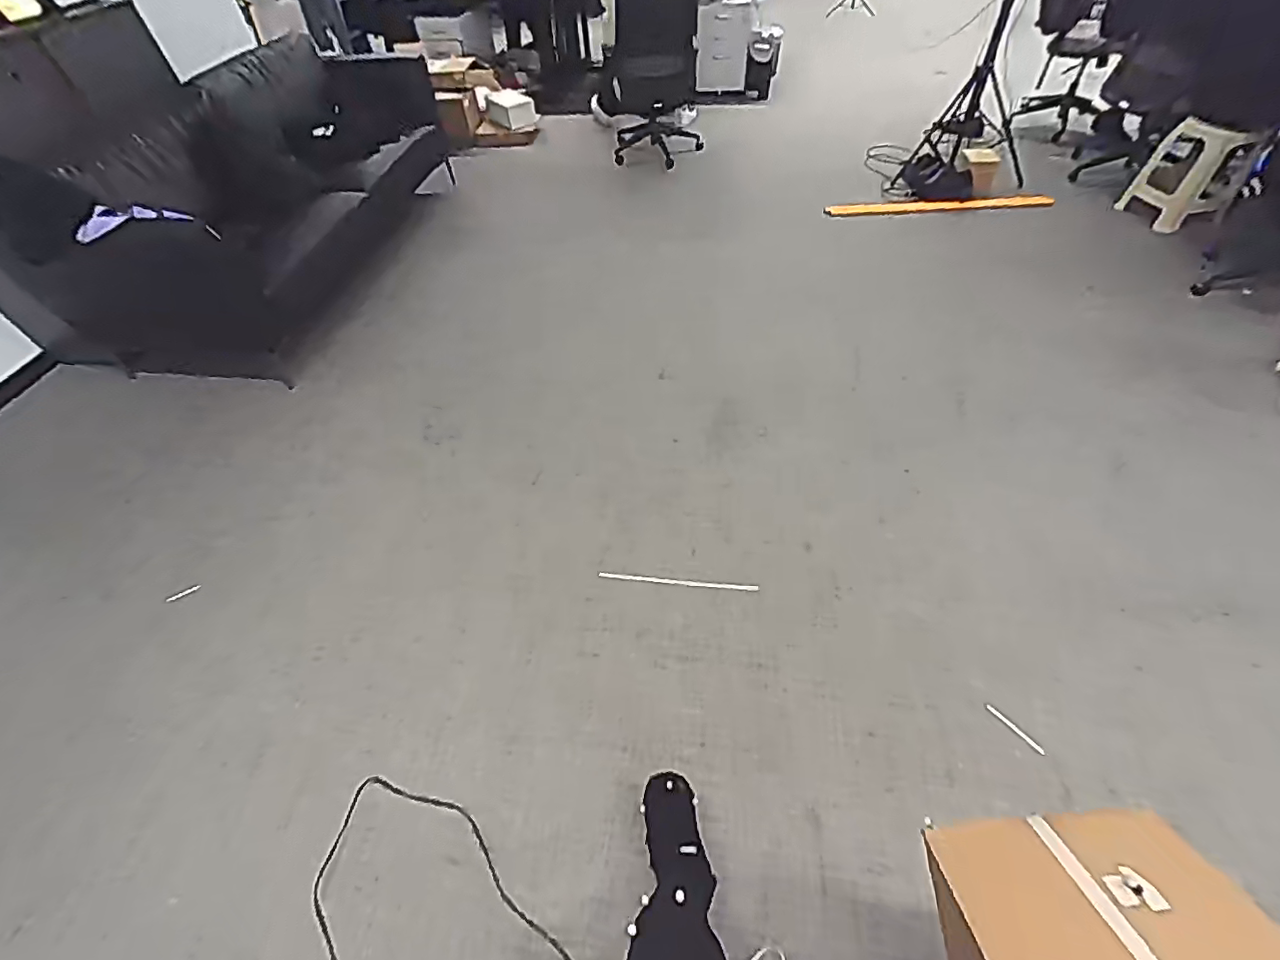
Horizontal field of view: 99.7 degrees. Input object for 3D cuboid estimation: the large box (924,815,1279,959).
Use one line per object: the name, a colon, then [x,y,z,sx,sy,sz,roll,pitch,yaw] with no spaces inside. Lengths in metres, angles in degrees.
large box: [0.588,0.680,0.623,0.320,0.408,0.320,-11,94,10]
